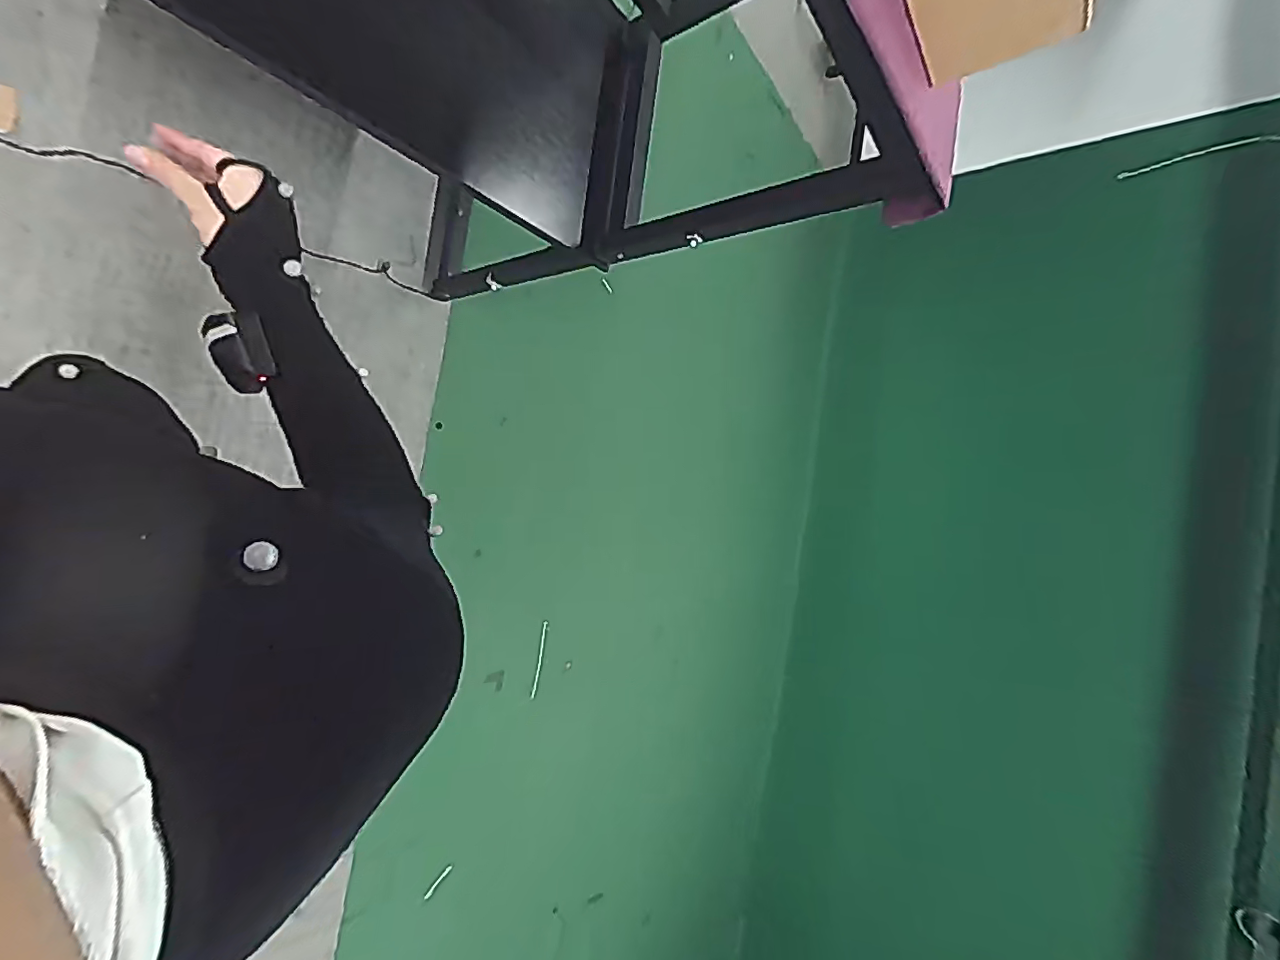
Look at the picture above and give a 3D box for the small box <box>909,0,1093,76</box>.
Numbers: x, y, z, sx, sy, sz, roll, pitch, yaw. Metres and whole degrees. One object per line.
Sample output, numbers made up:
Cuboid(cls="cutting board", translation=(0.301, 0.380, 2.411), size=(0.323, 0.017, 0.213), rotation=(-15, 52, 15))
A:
Cuboid(cls="small box", translation=(0.420, -0.625, 0.627), size=(0.179, 0.176, 0.168), rotation=(12, 84, -51))
